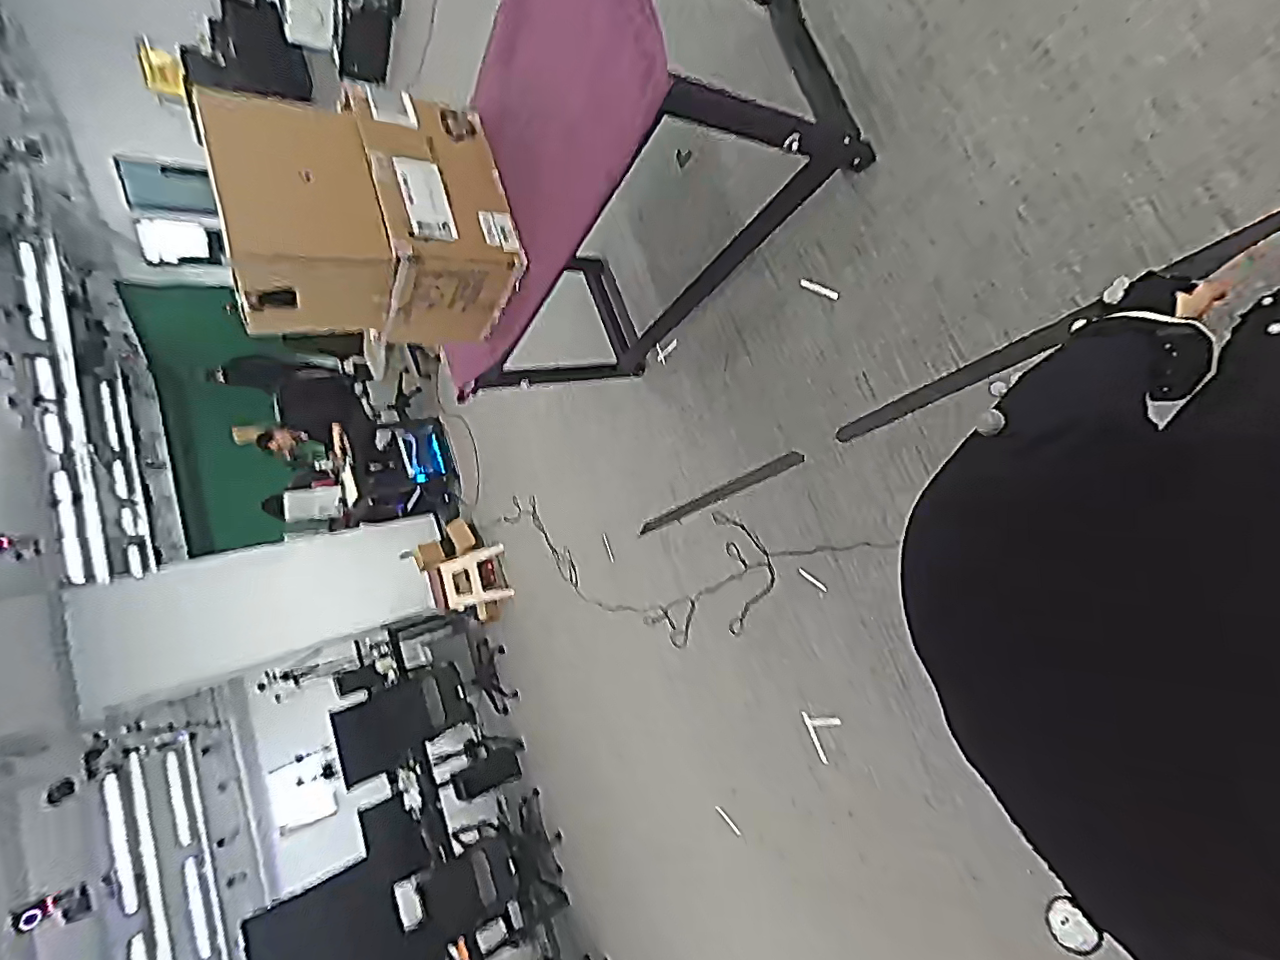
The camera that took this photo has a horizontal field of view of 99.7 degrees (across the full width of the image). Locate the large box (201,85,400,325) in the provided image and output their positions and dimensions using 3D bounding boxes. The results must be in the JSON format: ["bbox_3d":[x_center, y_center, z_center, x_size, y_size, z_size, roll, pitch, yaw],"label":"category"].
[{"bbox_3d":[-0.803,-0.635,1.306,0.320,0.320,0.408,-32,74,57],"label":"large box"}]
